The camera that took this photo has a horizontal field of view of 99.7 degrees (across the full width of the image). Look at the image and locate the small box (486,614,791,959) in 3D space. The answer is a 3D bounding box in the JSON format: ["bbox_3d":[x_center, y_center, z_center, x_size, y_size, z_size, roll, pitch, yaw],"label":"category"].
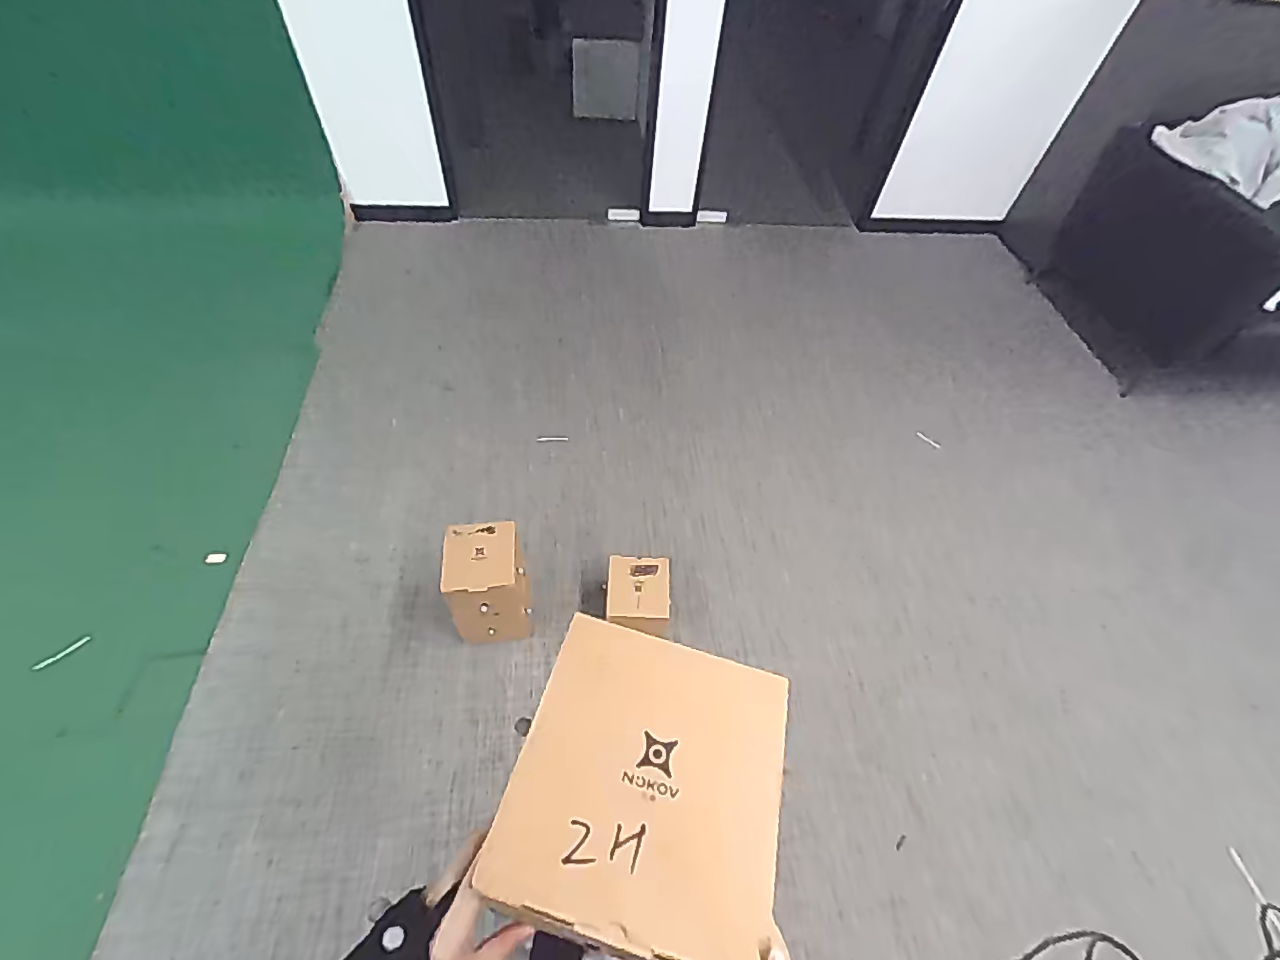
[{"bbox_3d":[0.000,0.236,0.402,0.168,0.176,0.179,16,47,4],"label":"small box"}]

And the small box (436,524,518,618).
[{"bbox_3d":[-0.389,0.227,1.317,0.168,0.176,0.179,-4,55,-9],"label":"small box"}]

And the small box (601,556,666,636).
[{"bbox_3d":[-0.021,0.328,1.487,0.168,0.176,0.179,4,55,-4],"label":"small box"}]
